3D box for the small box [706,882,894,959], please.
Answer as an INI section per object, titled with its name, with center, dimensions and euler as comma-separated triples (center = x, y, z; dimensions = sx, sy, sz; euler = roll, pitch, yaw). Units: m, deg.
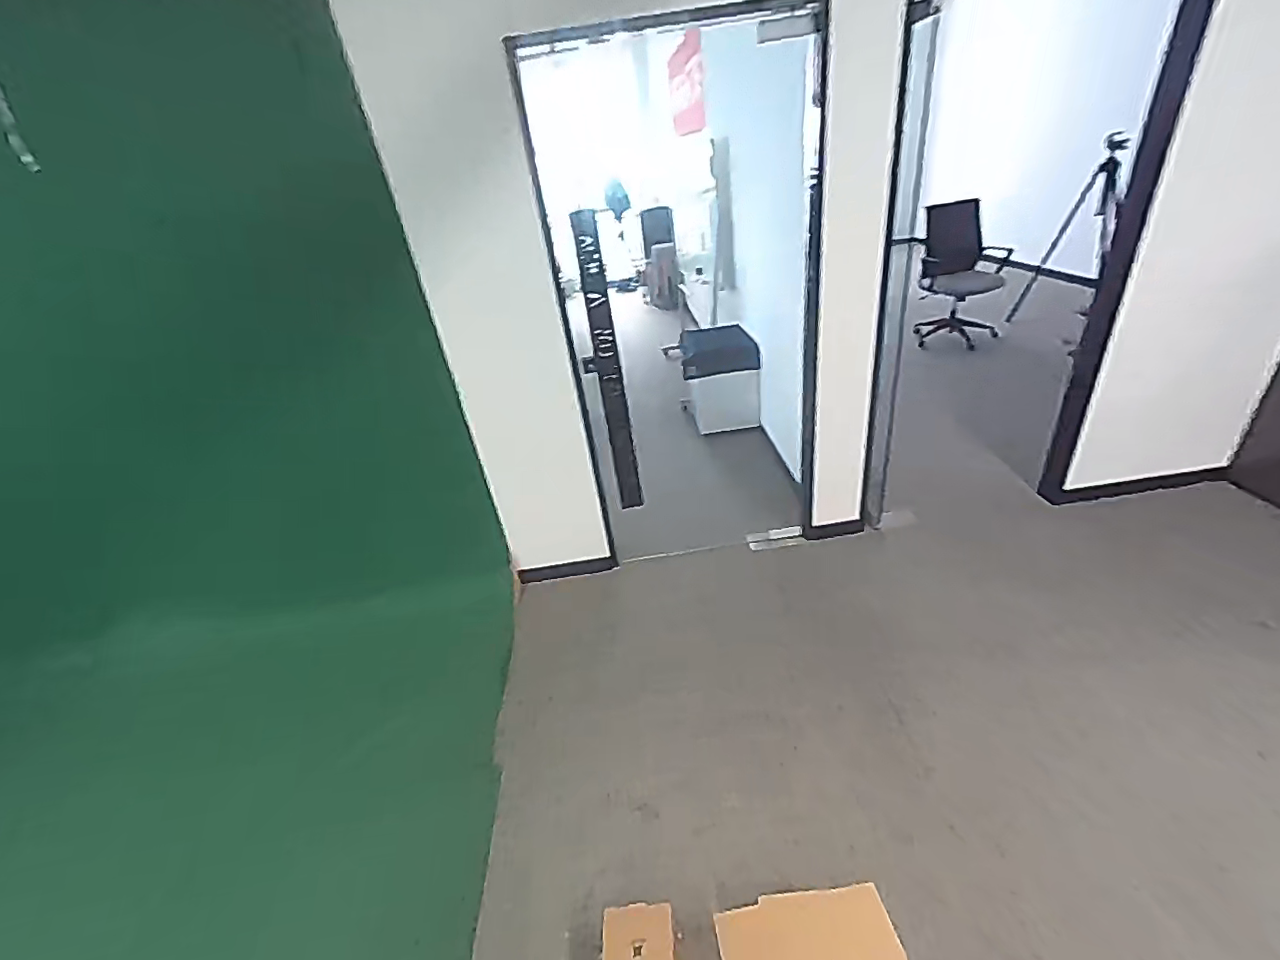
[small box]
center = 0.158, 0.524, 0.503
dimensions = 0.168, 0.176, 0.179
euler = -8, 32, -4
